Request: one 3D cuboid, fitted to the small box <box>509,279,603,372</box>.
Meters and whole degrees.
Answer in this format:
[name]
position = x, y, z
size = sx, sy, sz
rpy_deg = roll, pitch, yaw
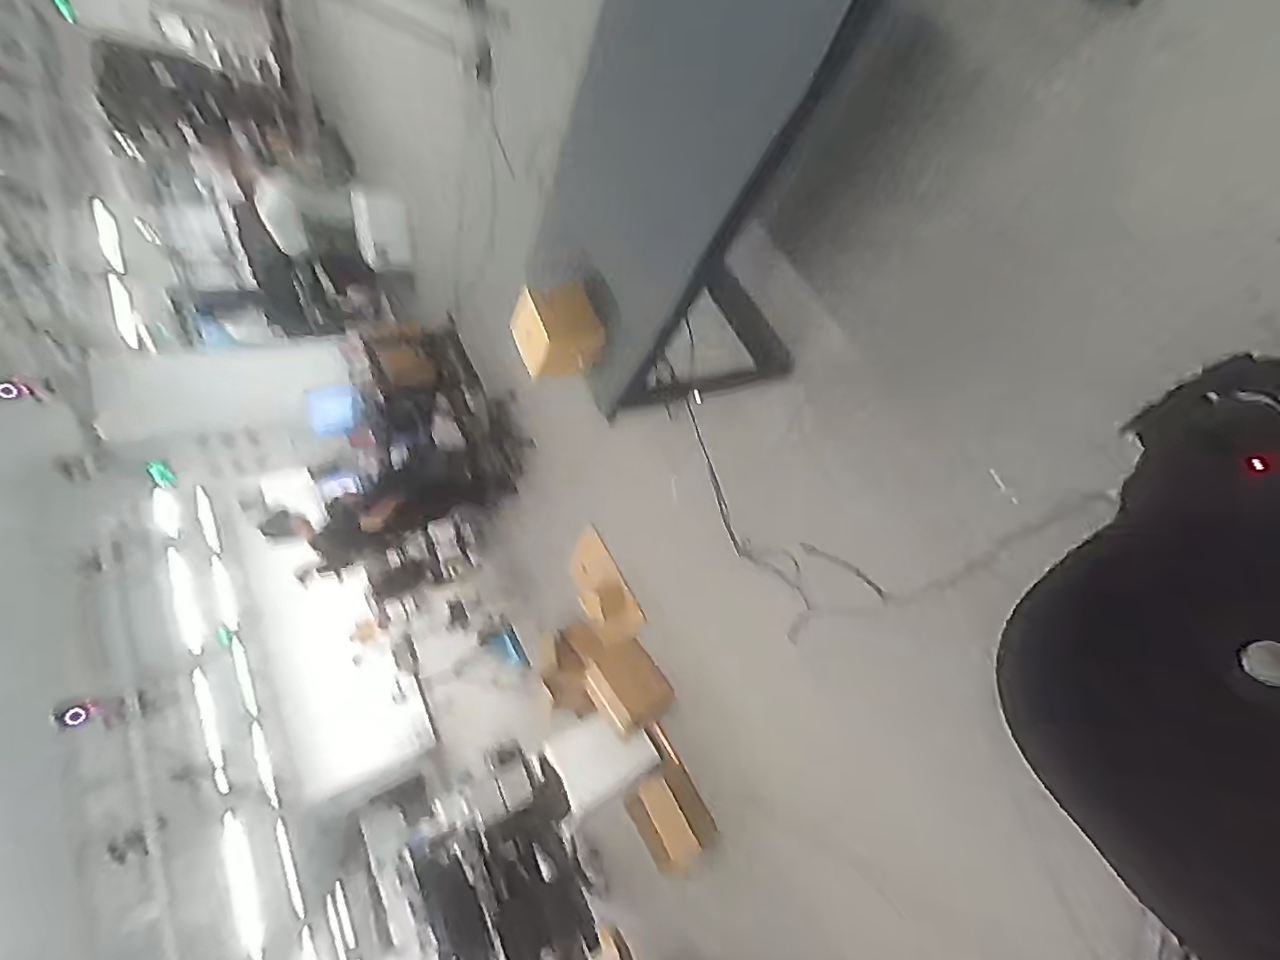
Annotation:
[small box]
position = -0.224, -0.408, 1.437
size = 0.168, 0.176, 0.179
rpy_deg = -48, 62, 52
